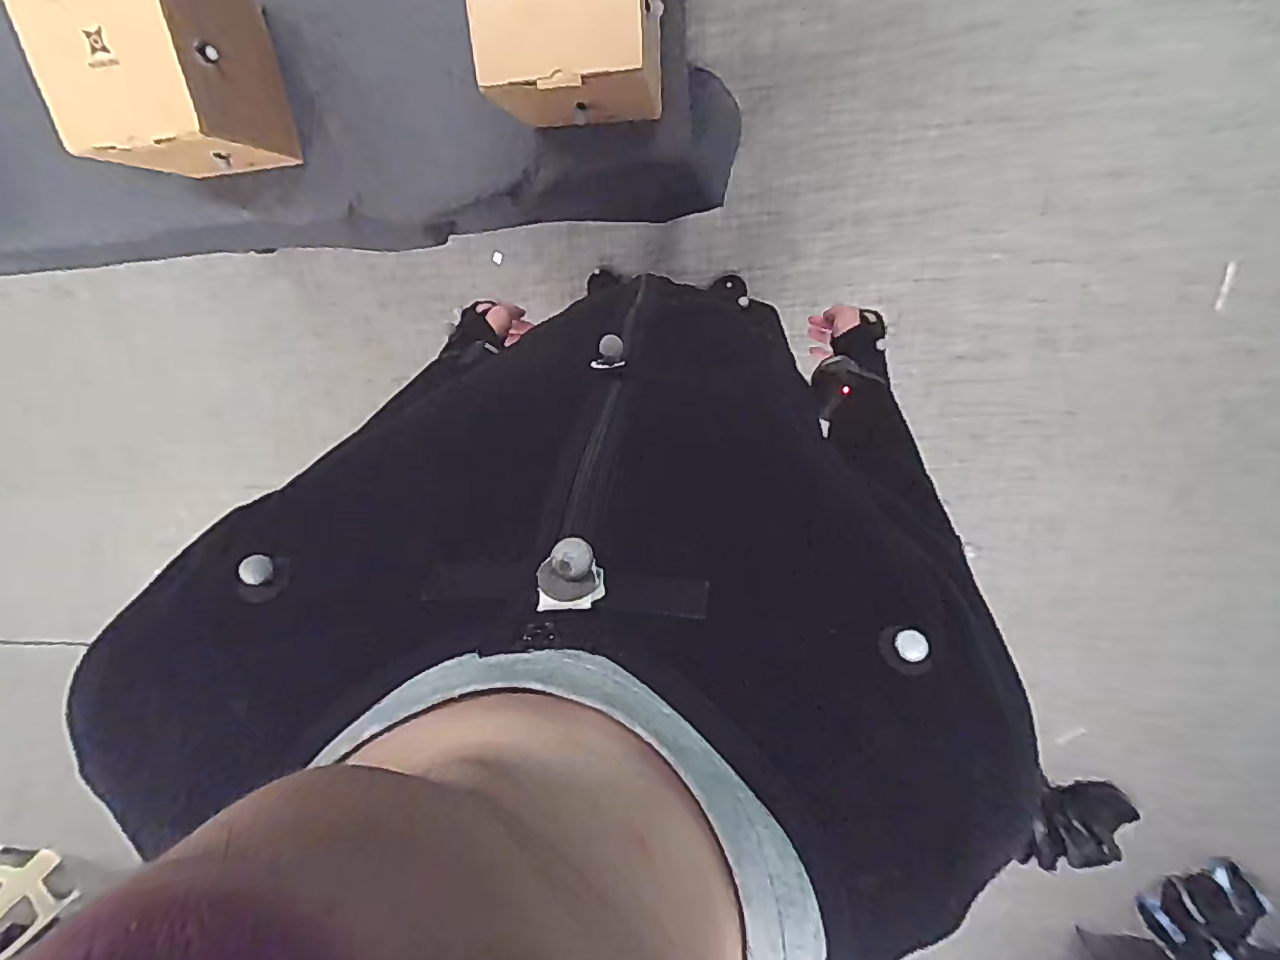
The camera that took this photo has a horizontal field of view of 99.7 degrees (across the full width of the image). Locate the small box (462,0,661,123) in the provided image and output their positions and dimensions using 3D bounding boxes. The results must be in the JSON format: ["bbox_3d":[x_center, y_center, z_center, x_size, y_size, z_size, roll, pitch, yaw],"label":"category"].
[{"bbox_3d":[-0.069,-0.479,0.545,0.168,0.176,0.179,1,111,8],"label":"small box"}]

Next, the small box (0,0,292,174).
[{"bbox_3d":[-0.538,-0.459,0.610,0.168,0.176,0.179,-4,109,6],"label":"small box"}]
